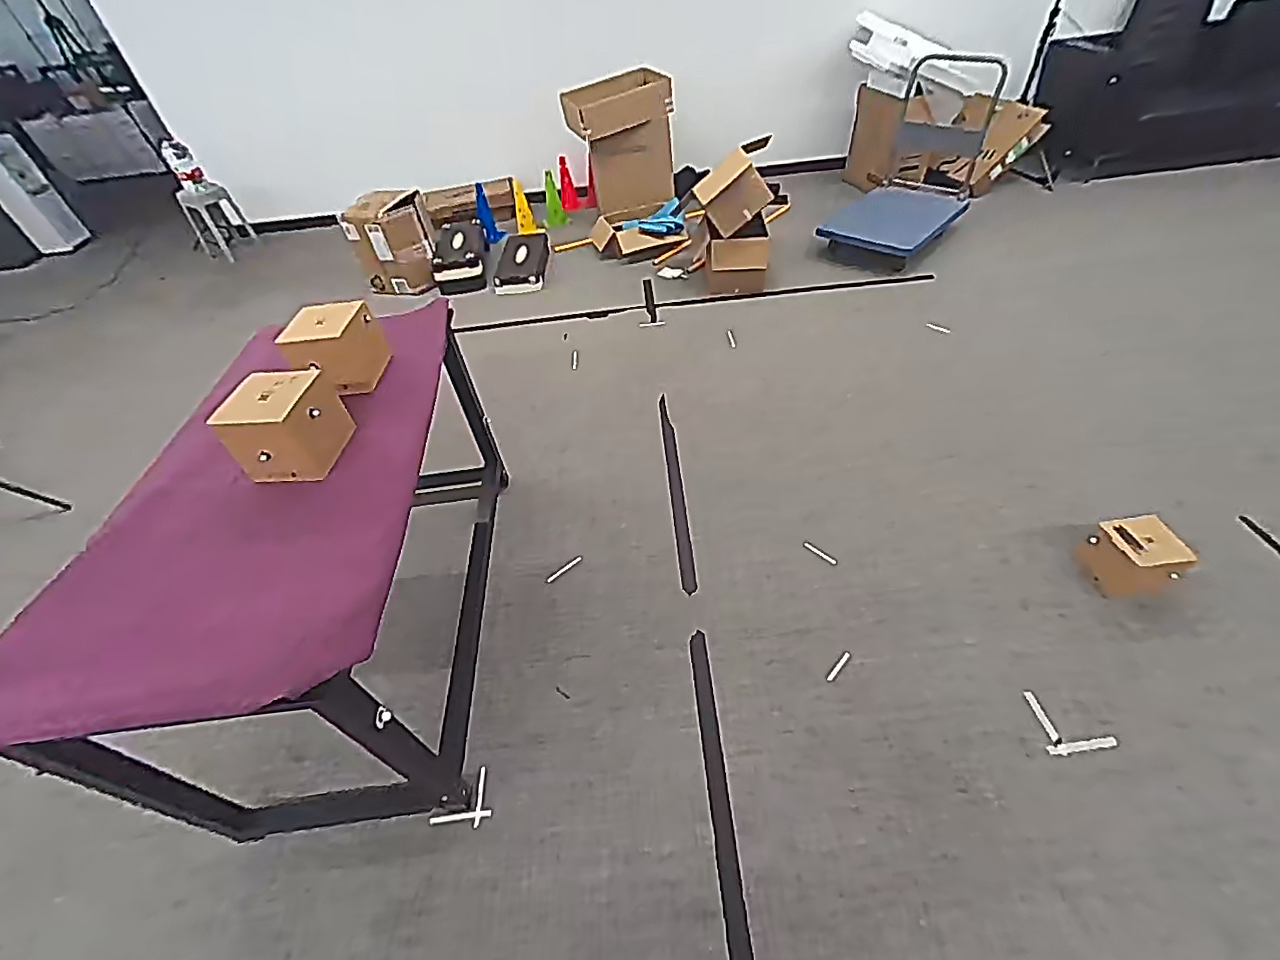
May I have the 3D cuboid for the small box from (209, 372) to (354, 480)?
[{"bbox_3d":[-0.757,-0.112,1.168,0.168,0.176,0.179,-1,45,5],"label":"small box"}]

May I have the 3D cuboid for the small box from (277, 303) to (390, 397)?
[{"bbox_3d":[-0.768,-0.325,1.379,0.168,0.176,0.179,-5,45,3],"label":"small box"}]
